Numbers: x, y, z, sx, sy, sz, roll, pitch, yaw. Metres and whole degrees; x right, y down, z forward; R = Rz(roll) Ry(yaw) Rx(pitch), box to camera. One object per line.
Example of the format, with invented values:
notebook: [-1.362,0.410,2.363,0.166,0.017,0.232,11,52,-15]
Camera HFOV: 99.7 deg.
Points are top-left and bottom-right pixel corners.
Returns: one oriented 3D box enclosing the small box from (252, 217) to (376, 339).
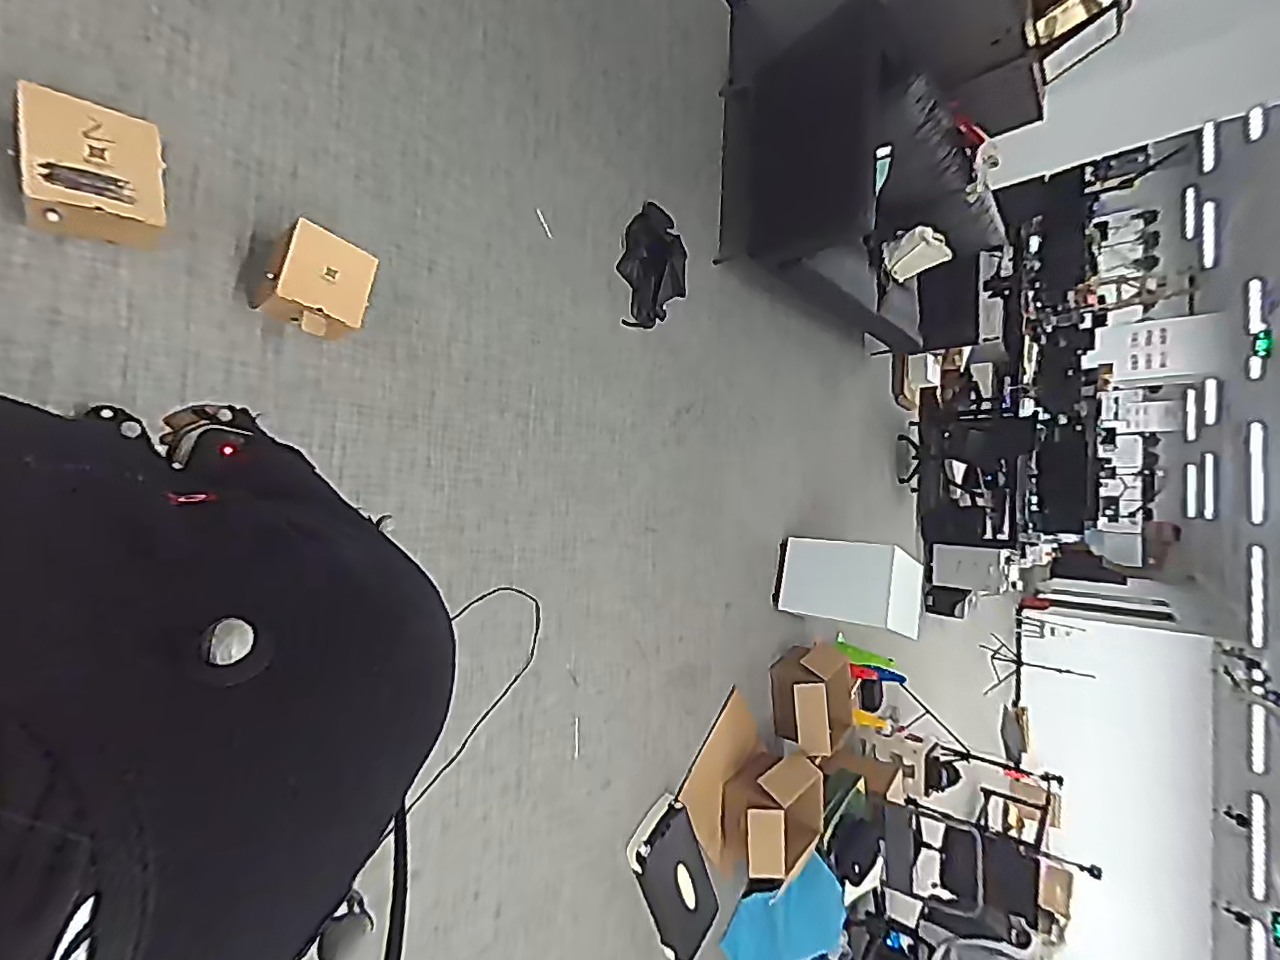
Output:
small box: [-0.713,-0.430,1.181,0.168,0.176,0.179,20,75,-48]
